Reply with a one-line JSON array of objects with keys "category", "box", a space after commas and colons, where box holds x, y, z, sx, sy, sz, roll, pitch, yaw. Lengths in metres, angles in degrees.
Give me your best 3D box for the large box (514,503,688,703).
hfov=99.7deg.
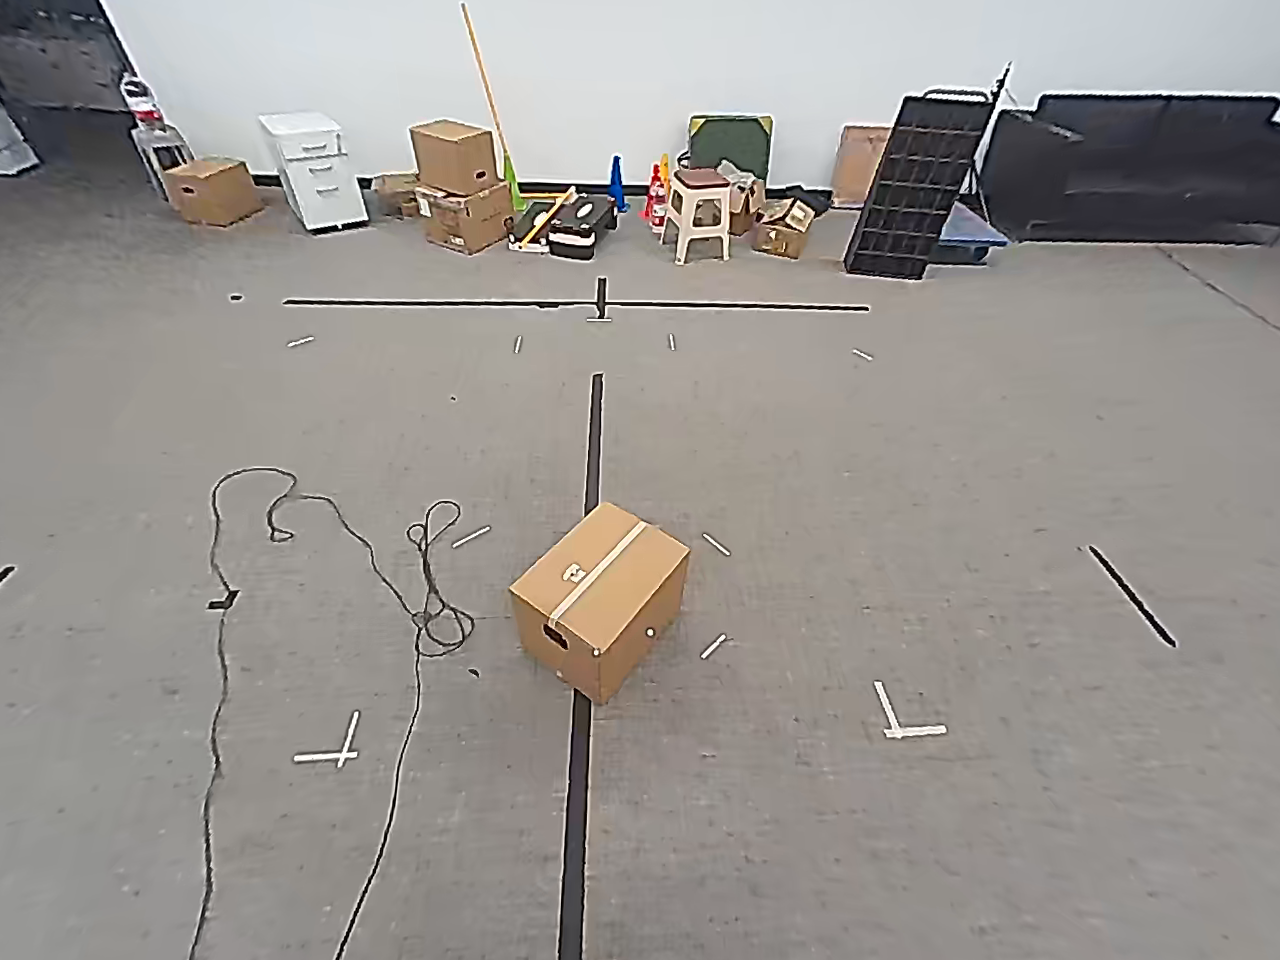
[{"category": "large box", "box": [-0.103, 0.348, 1.576, 0.320, 0.320, 0.408, 28, 50, 23]}]
